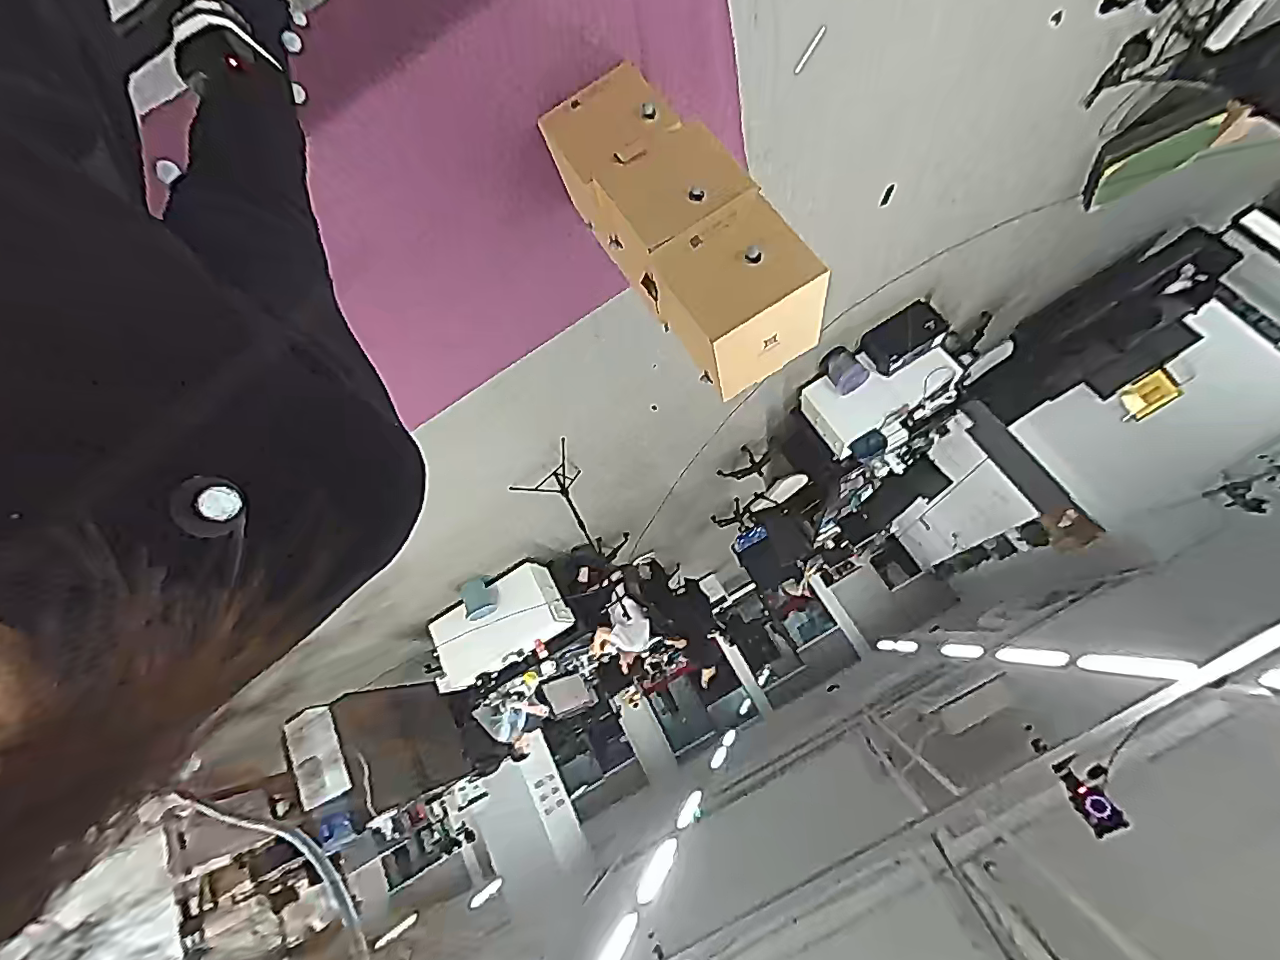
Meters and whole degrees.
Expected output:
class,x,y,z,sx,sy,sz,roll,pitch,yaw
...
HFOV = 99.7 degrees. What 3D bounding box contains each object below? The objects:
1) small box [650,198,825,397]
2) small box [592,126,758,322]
class,x,y,z,sx,sy,sz,roll,pitch,yaw
small box,0.131,-0.254,0.752,0.168,0.176,0.179,-32,160,3
small box,0.053,-0.384,0.813,0.179,0.176,0.168,-30,159,-4
